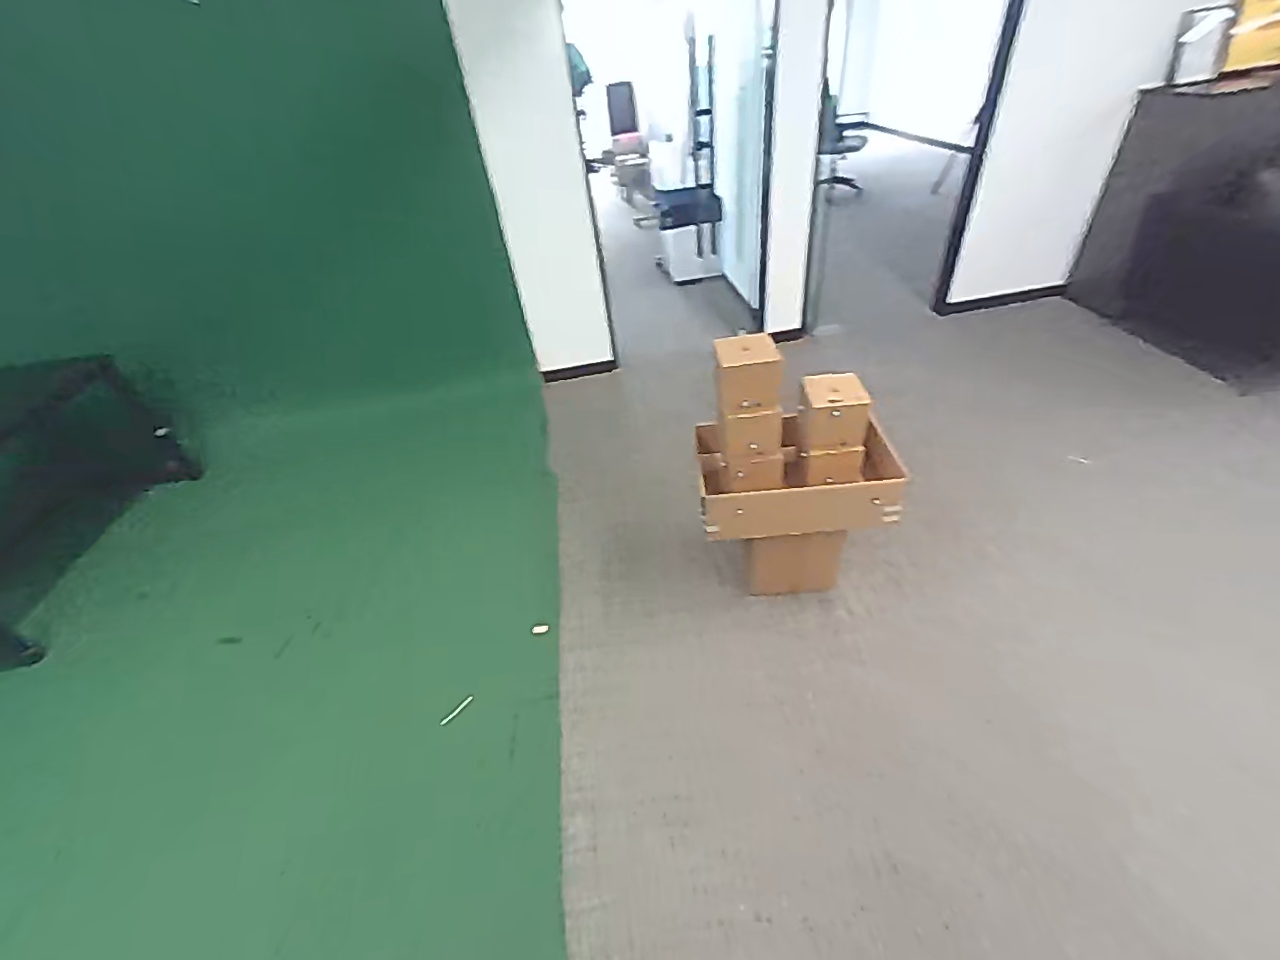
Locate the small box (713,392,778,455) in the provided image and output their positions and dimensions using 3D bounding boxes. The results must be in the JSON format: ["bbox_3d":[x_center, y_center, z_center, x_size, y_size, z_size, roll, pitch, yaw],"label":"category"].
[{"bbox_3d":[0.320,-0.200,1.682,0.168,0.176,0.179,-7,41,0],"label":"small box"}]

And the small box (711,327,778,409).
[{"bbox_3d":[0.299,-0.327,1.582,0.168,0.176,0.179,-6,41,1],"label":"small box"}]

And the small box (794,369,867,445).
[{"bbox_3d":[0.582,-0.227,1.679,0.168,0.176,0.179,-4,42,4],"label":"small box"}]

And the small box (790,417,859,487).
[{"bbox_3d":[0.599,-0.099,1.782,0.168,0.176,0.179,-5,42,2],"label":"small box"}]
